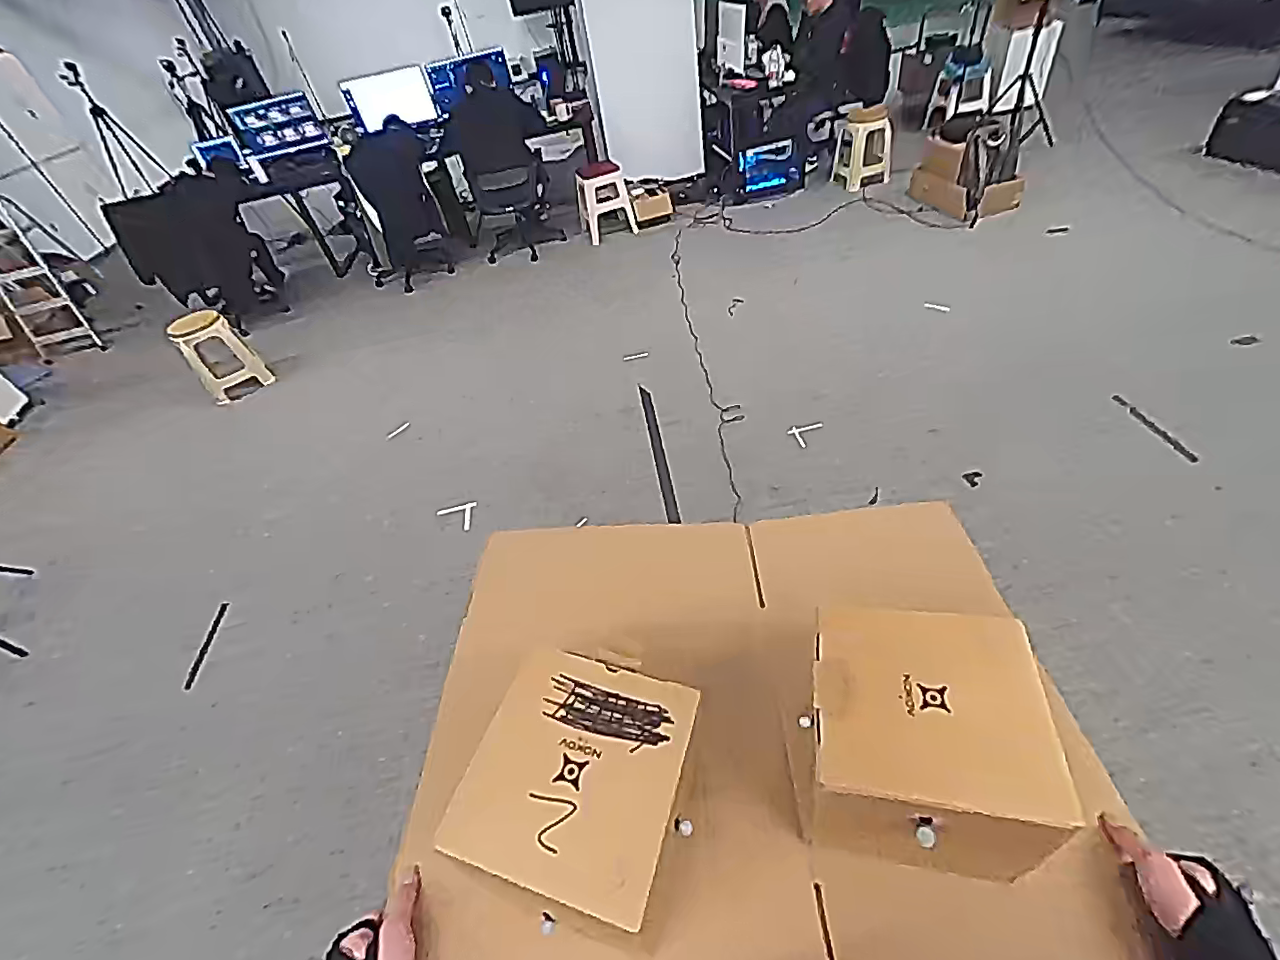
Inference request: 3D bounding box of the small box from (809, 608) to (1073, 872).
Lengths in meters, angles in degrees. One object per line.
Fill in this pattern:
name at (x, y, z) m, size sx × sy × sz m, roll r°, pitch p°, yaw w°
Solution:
small box at (0.254, 0.243, 0.509) m, size 0.179 × 0.176 × 0.168 m, roll 1°, pitch 44°, yaw 17°
